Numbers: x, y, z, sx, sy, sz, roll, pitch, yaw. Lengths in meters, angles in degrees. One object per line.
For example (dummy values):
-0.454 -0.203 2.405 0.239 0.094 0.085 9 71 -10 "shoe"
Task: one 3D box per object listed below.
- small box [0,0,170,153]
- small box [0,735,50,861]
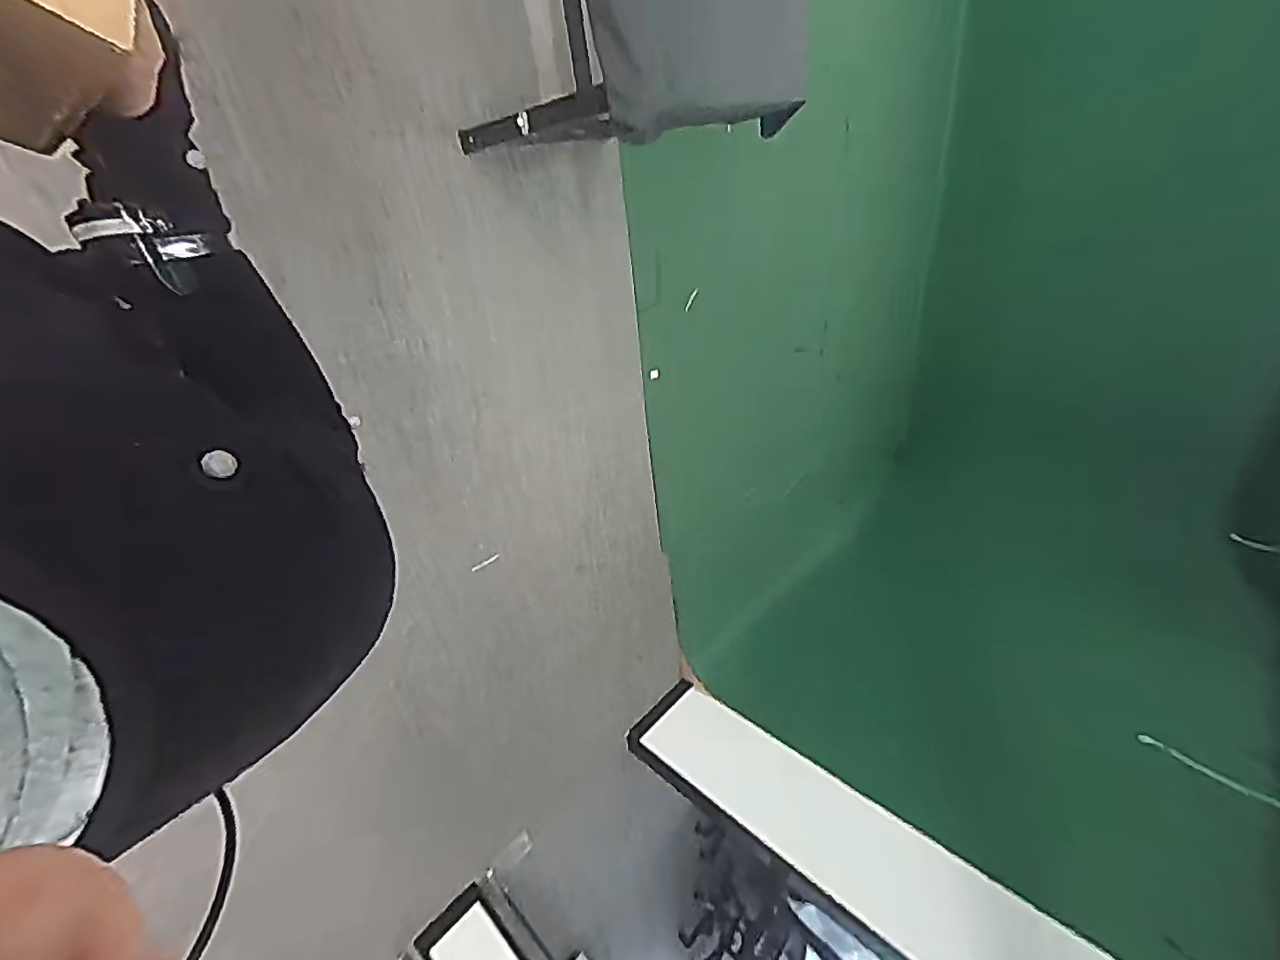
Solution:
-0.336 -0.276 0.227 0.179 0.176 0.168 0 91 -57 "small box"
-1.059 0.502 0.811 0.179 0.176 0.168 -39 131 -38 "small box"
